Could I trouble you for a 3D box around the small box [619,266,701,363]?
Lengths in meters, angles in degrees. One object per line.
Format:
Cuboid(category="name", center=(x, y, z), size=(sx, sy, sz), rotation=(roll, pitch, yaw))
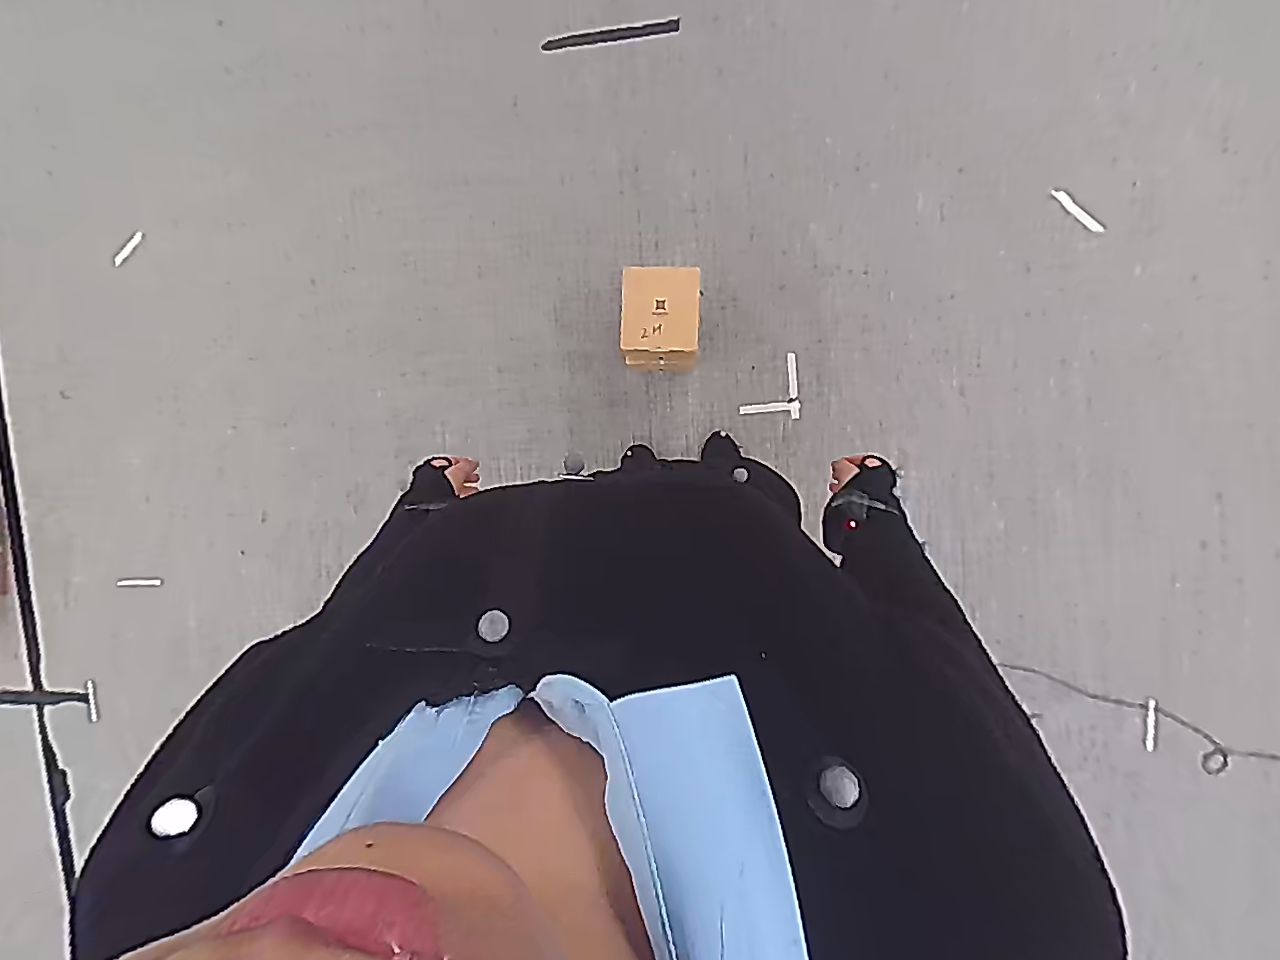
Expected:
Cuboid(category="small box", center=(0.049, -0.365, 1.213), size=(0.168, 0.176, 0.179), rotation=(3, 96, 7))
